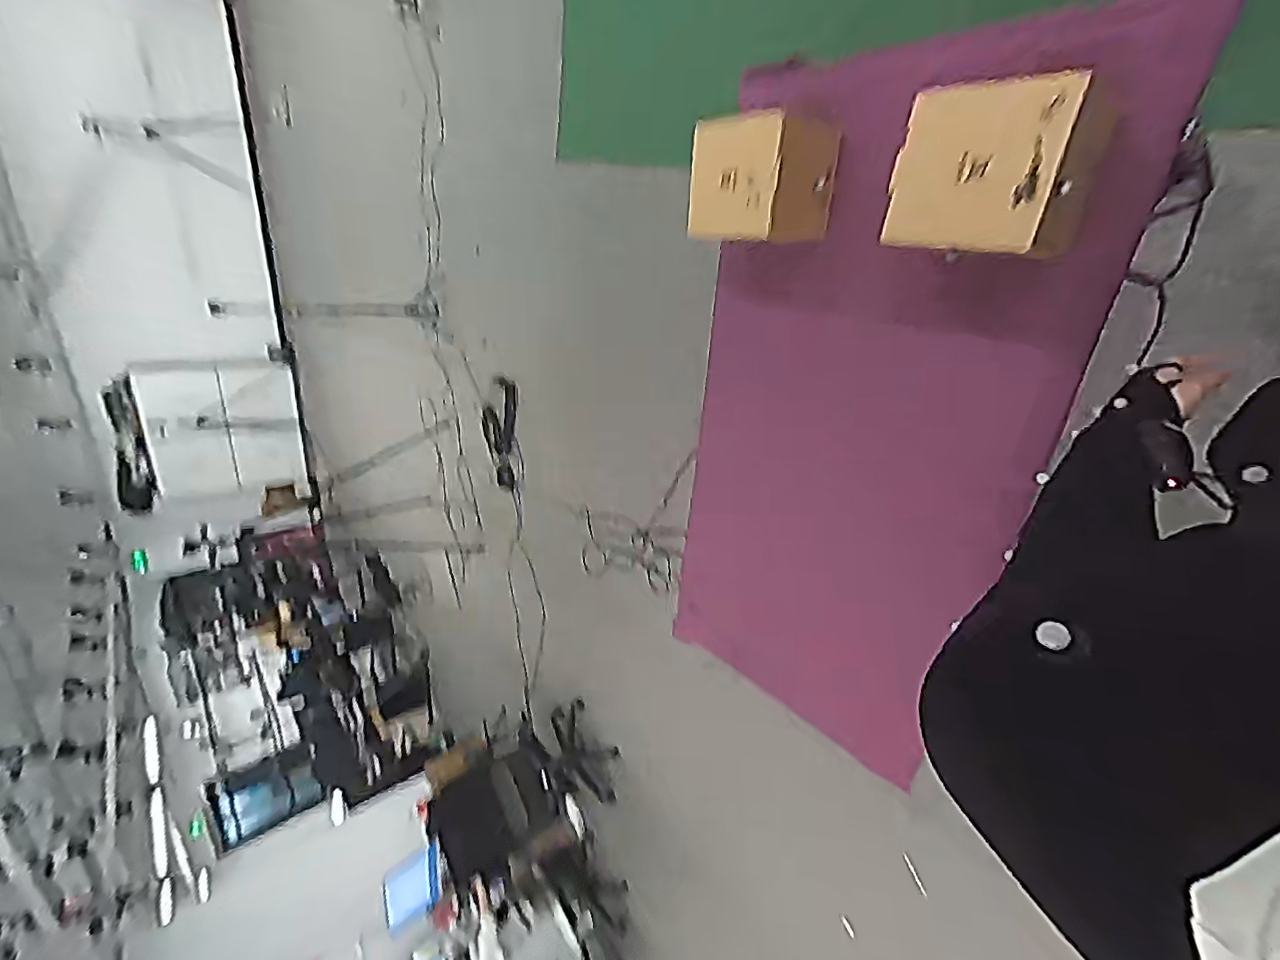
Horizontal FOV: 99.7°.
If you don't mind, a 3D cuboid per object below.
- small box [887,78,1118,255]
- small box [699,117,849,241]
[{"bbox_3d":[0.457,-0.385,0.691,0.179,0.176,0.168,29,124,42],"label":"small box"},{"bbox_3d":[0.227,-0.506,0.933,0.179,0.176,0.168,26,123,43],"label":"small box"}]
